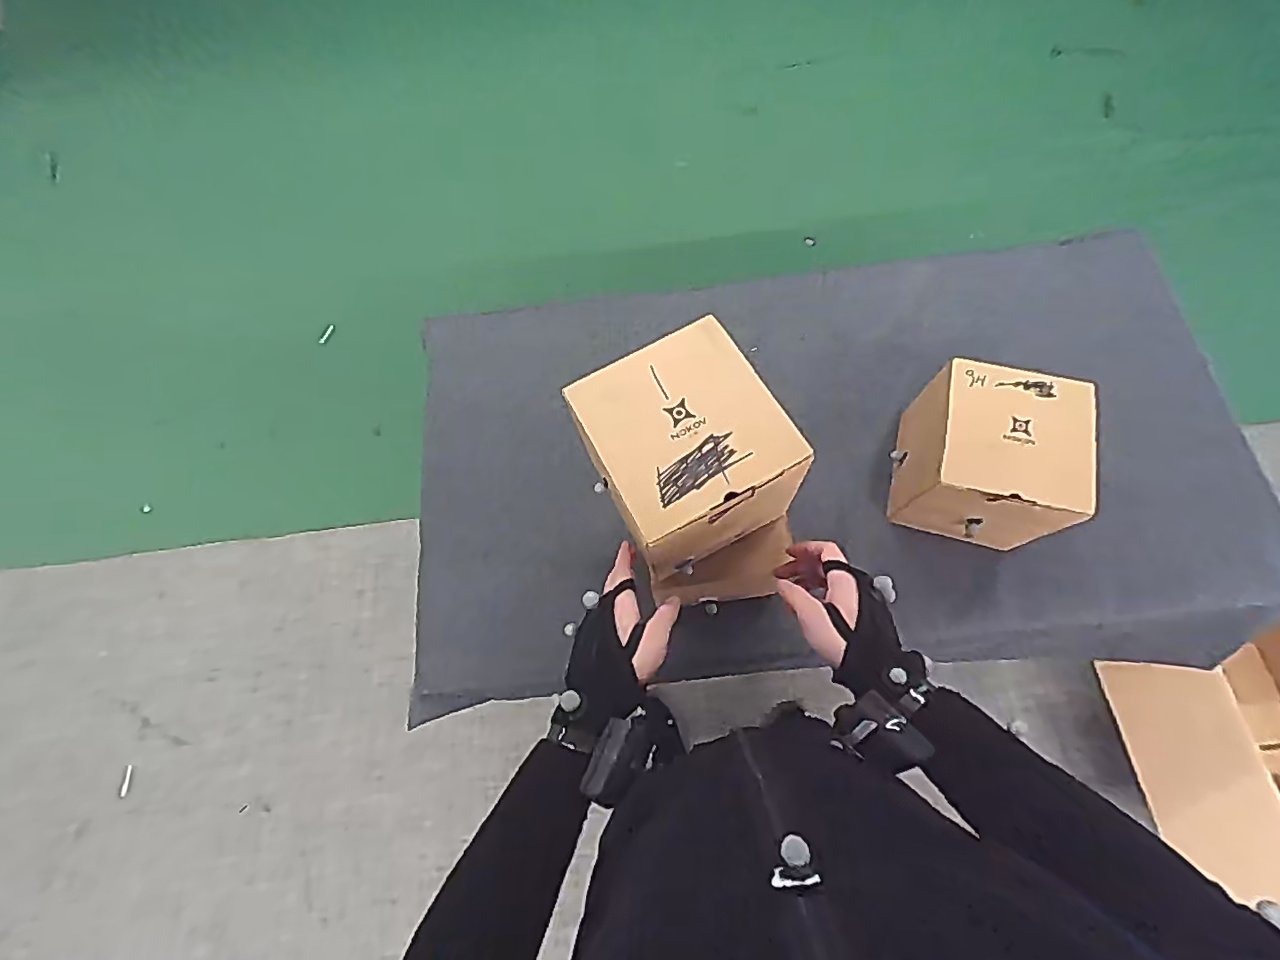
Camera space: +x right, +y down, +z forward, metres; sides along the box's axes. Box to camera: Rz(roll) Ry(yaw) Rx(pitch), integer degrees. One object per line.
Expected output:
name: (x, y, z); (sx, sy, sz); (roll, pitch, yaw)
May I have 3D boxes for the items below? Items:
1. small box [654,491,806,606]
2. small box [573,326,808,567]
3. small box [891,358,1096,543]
small box: (0.094, 0.053, 0.689); (0.168, 0.176, 0.179); (-9, 70, 1)
small box: (0.050, -0.021, 0.579); (0.168, 0.176, 0.179); (-27, 68, -6)
small box: (0.450, -0.029, 0.713); (0.168, 0.176, 0.179); (15, 73, 9)
